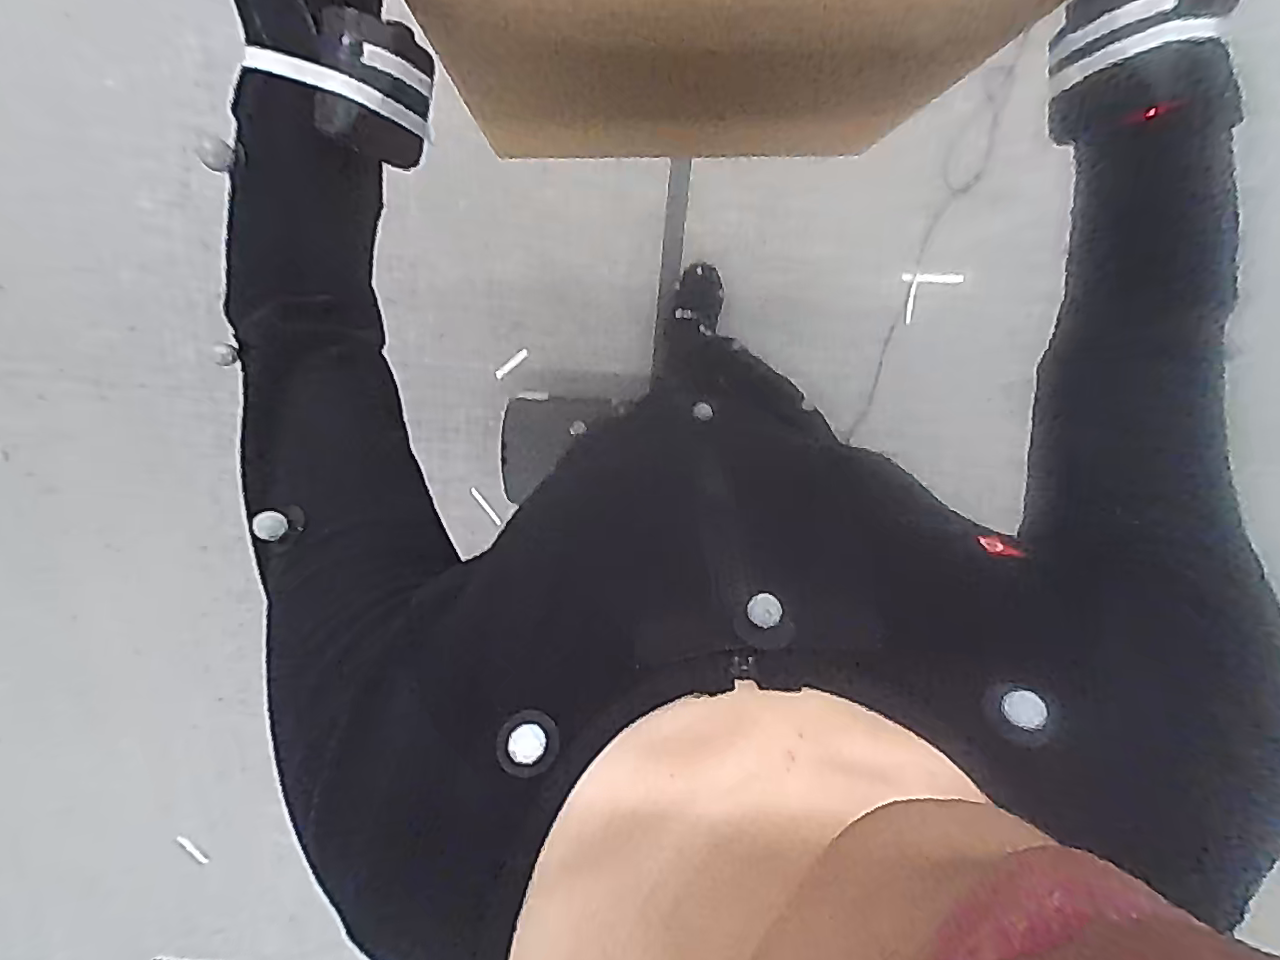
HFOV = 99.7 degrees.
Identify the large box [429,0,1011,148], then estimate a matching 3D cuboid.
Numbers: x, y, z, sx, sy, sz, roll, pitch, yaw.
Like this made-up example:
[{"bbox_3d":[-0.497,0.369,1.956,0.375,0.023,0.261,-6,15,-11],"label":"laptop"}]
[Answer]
[{"bbox_3d":[0.047,-0.480,0.410,0.408,0.320,0.320,-3,105,-3],"label":"large box"}]
